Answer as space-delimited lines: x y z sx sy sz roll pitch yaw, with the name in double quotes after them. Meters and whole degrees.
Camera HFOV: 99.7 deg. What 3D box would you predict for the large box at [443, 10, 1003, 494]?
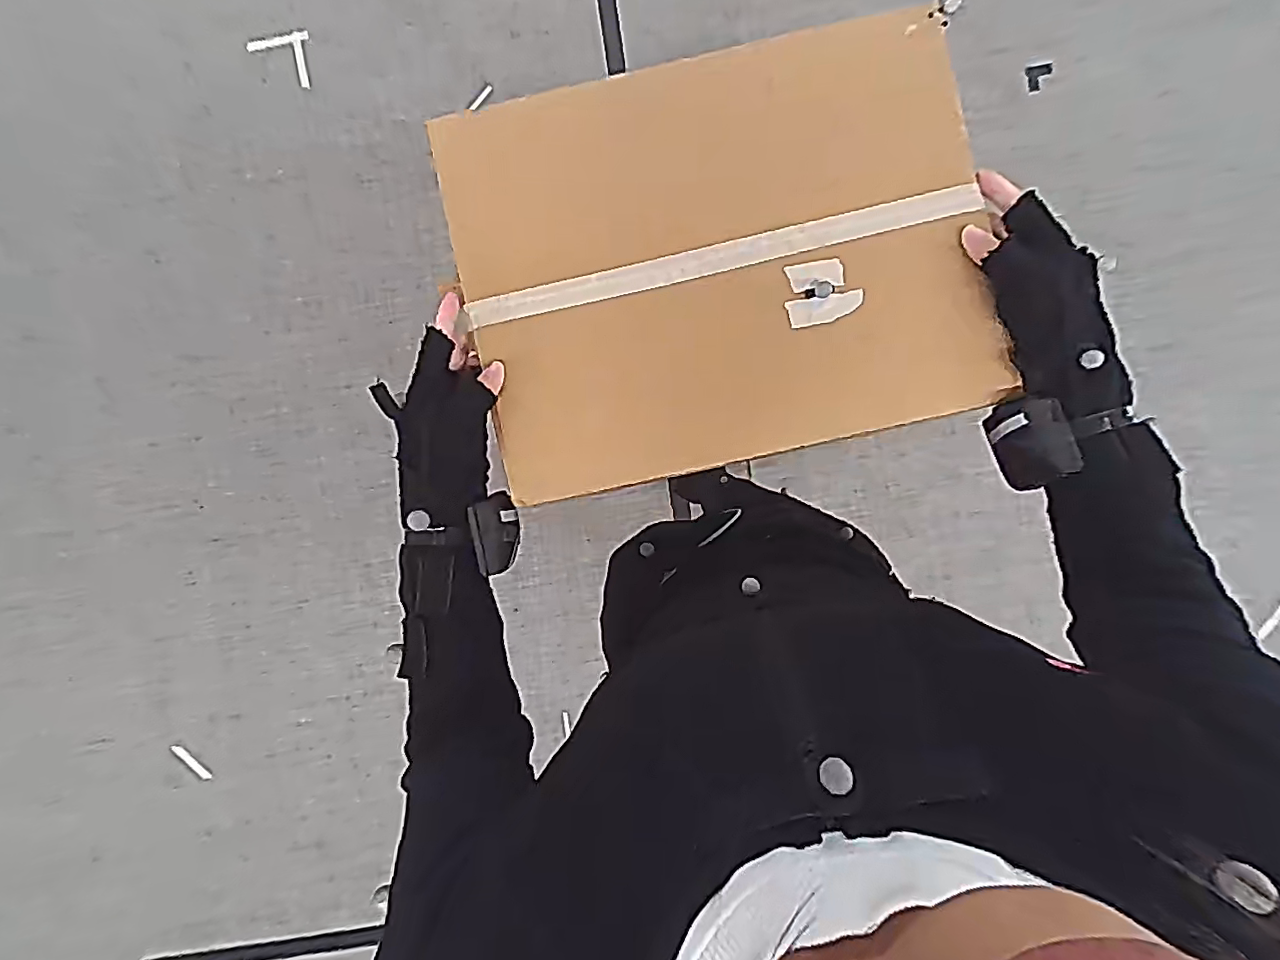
0.066 -0.182 0.582 0.408 0.320 0.320 -13 91 1 "large box"
